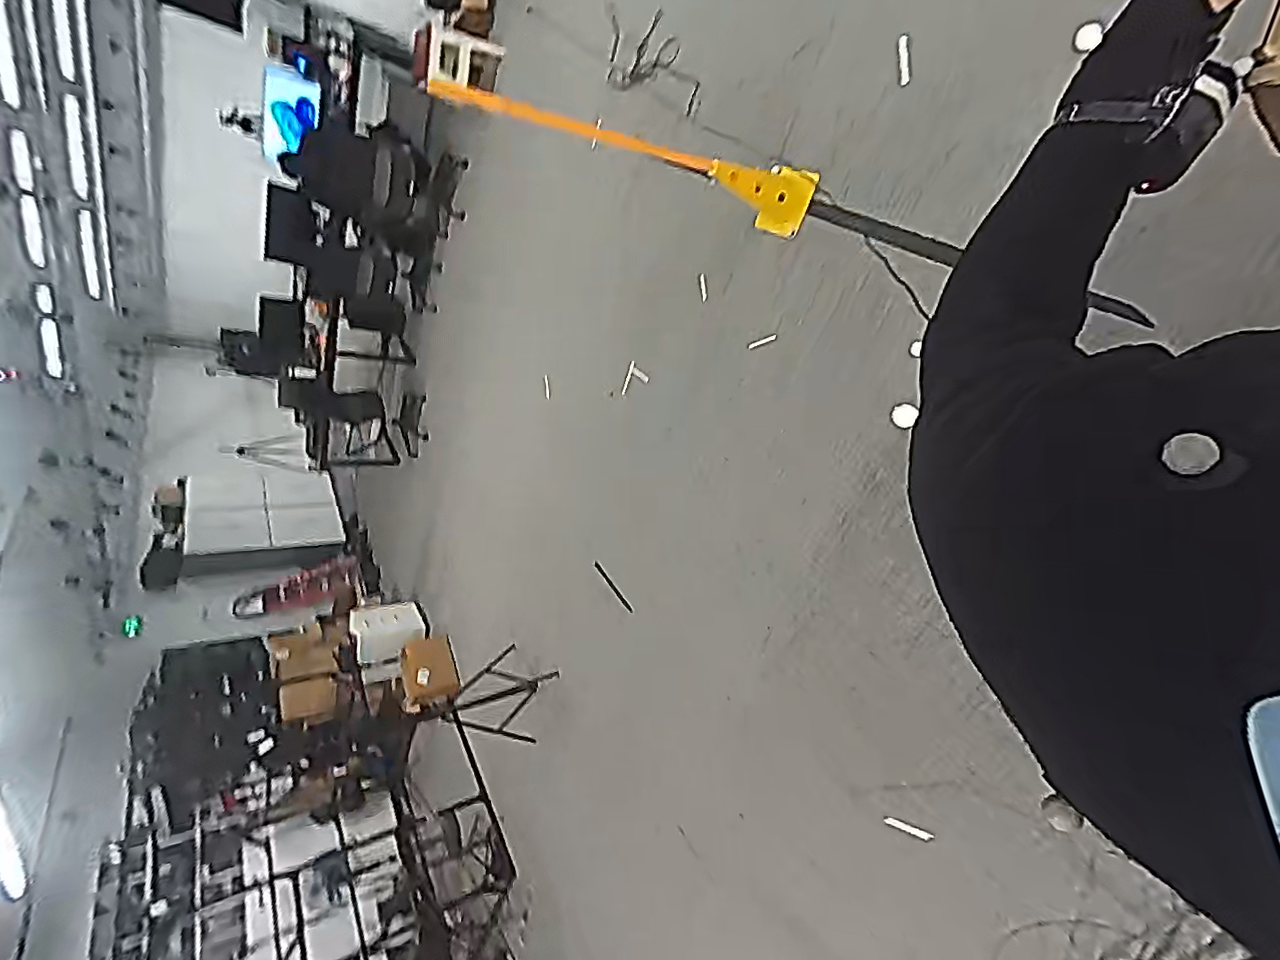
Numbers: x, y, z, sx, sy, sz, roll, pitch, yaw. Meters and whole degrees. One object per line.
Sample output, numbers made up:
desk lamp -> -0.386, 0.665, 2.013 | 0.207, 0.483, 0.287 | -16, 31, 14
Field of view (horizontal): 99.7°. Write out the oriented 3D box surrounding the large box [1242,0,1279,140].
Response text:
large box -> 0.666, -0.381, 0.266 | 0.408, 0.320, 0.320 | 26, 119, 49
